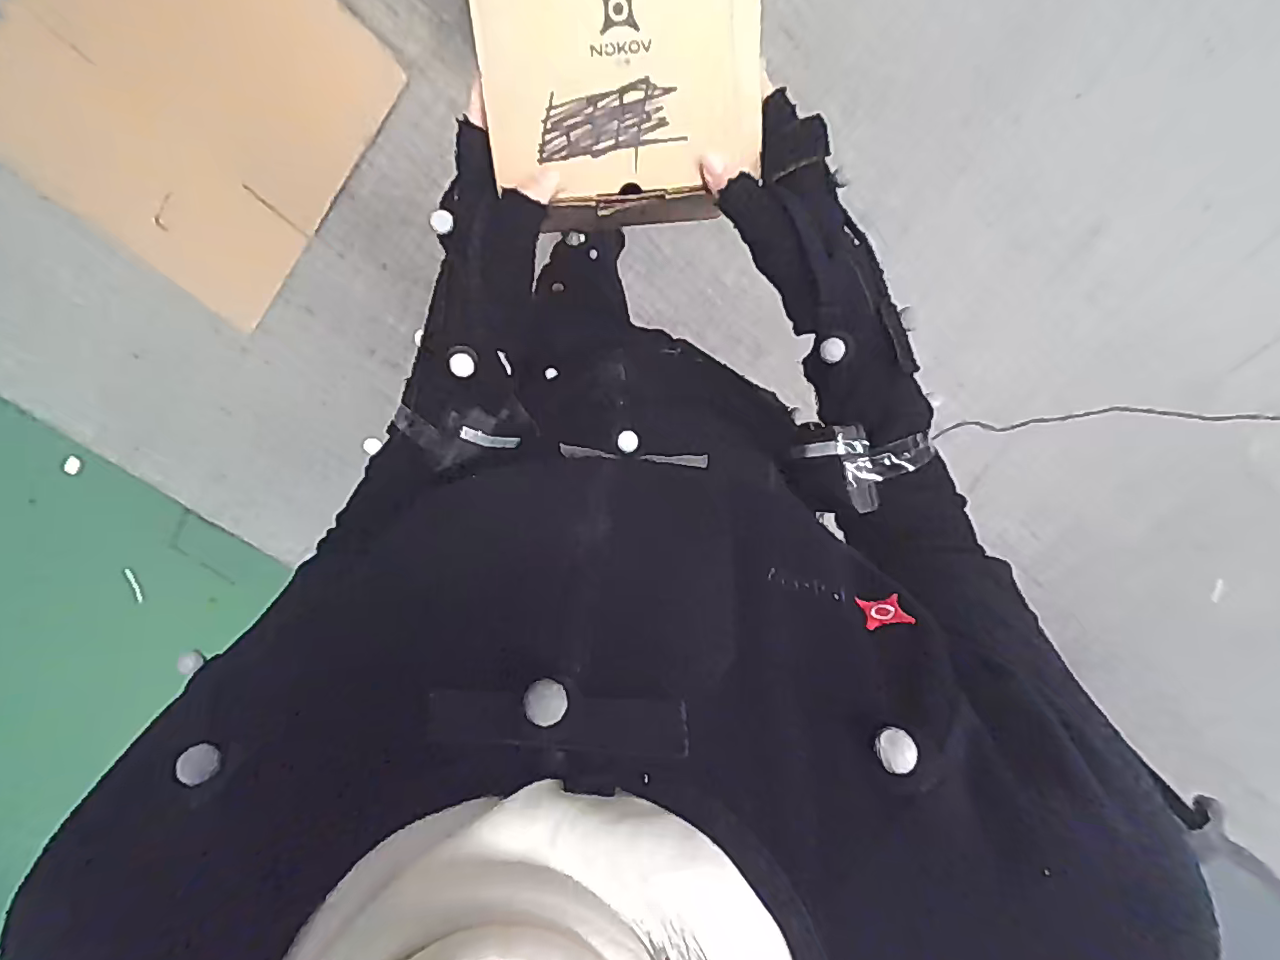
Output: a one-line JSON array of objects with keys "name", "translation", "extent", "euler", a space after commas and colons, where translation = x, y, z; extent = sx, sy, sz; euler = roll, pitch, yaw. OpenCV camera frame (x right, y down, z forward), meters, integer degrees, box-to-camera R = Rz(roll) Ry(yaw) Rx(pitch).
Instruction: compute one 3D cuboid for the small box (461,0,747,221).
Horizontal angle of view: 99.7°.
[{"name": "small box", "translation": [-0.020, -0.291, 0.387], "extent": [0.168, 0.176, 0.179], "euler": [-5, 108, 1]}]
